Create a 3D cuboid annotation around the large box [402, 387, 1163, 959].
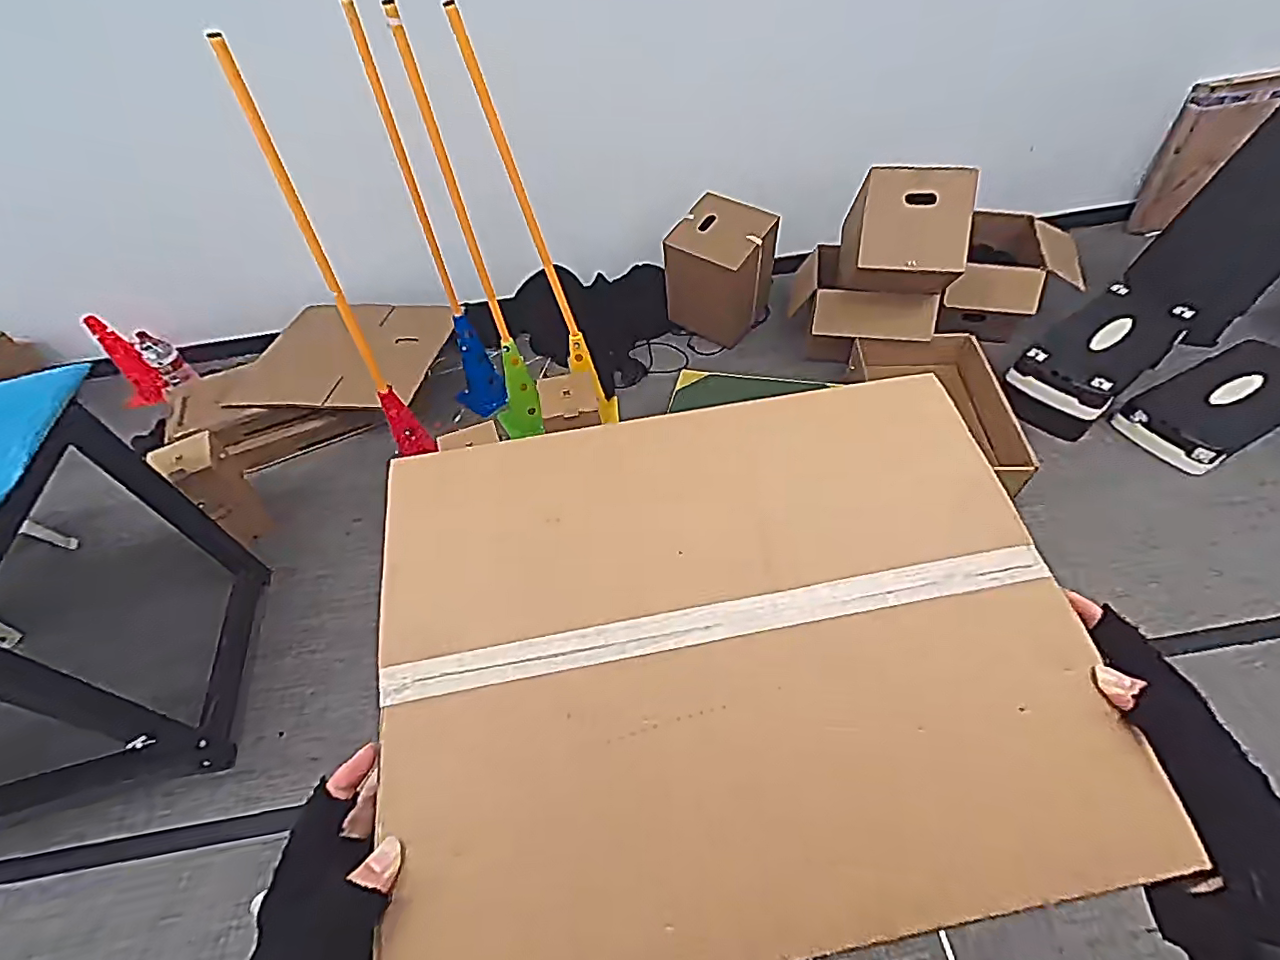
[{"bbox_3d":[0.056,0.165,0.468,0.408,0.320,0.320,-10,62,-4],"label":"large box"}]
